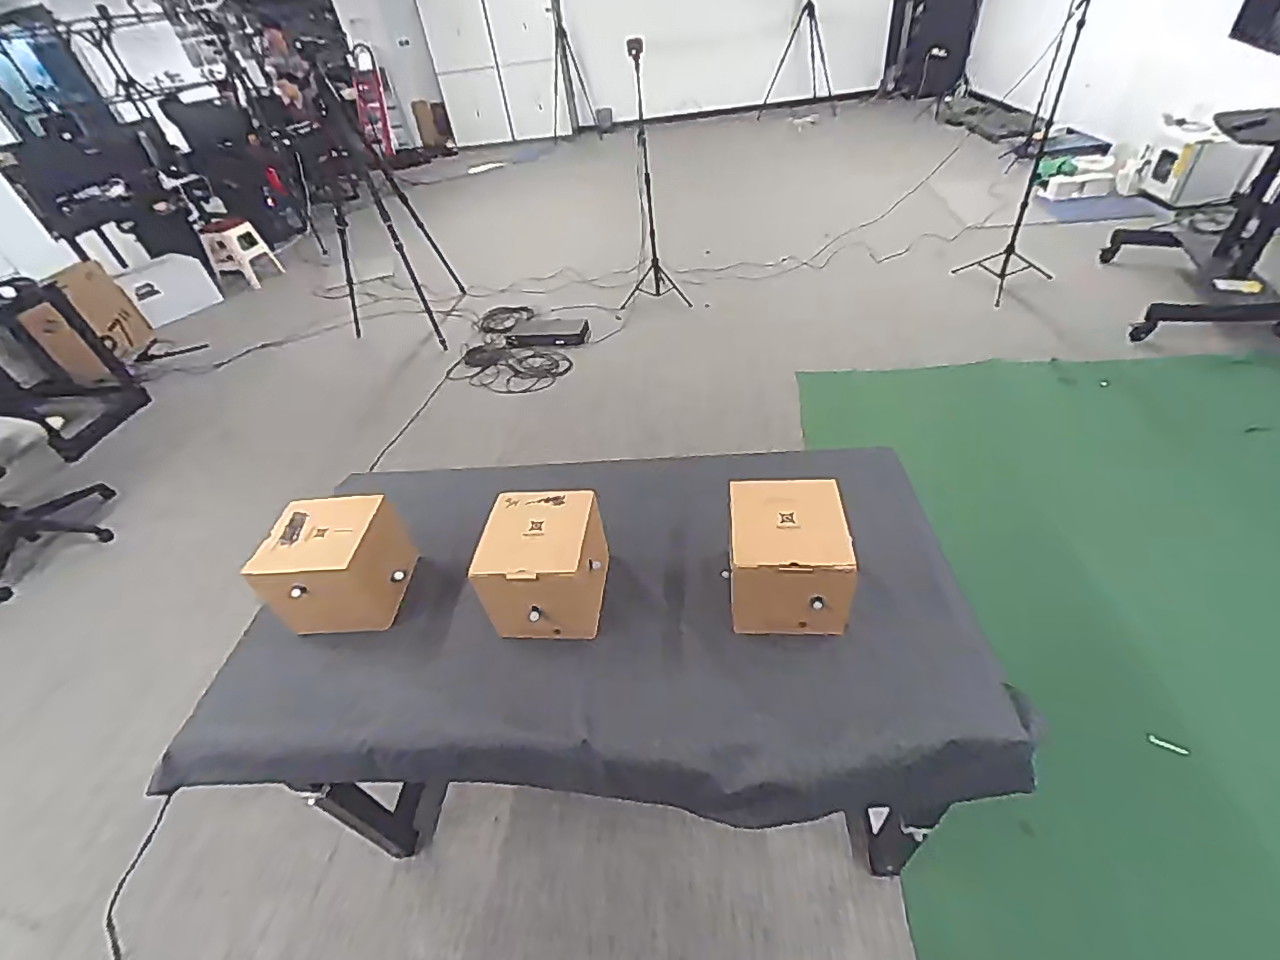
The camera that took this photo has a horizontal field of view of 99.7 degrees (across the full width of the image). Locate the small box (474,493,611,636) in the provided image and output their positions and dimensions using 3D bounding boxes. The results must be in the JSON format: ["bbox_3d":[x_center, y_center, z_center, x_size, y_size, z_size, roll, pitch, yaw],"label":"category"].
[{"bbox_3d":[-0.148,0.142,0.895,0.168,0.176,0.179,-1,42,8],"label":"small box"}]

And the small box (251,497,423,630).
[{"bbox_3d":[-0.514,0.149,0.947,0.179,0.176,0.168,-3,42,4],"label":"small box"}]

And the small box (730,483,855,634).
[{"bbox_3d":[0.228,0.125,0.851,0.168,0.176,0.179,-1,41,7],"label":"small box"}]
